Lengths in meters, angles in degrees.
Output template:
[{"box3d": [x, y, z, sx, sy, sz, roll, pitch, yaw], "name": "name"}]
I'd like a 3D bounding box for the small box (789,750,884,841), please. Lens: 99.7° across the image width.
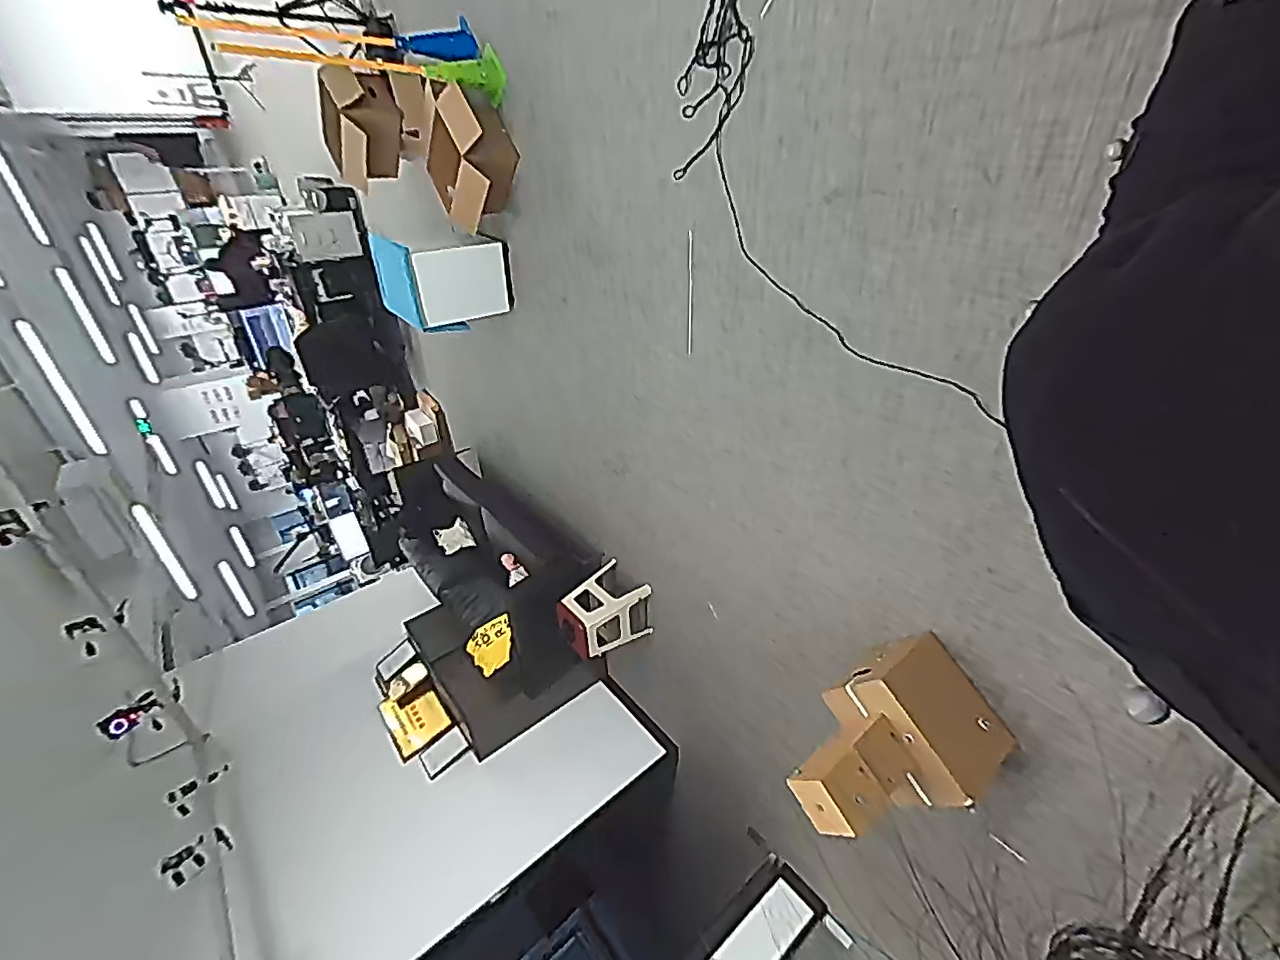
[{"box3d": [0.579, 0.914, 1.579, 0.168, 0.176, 0.179, 57, 149, 15], "name": "small box"}]
